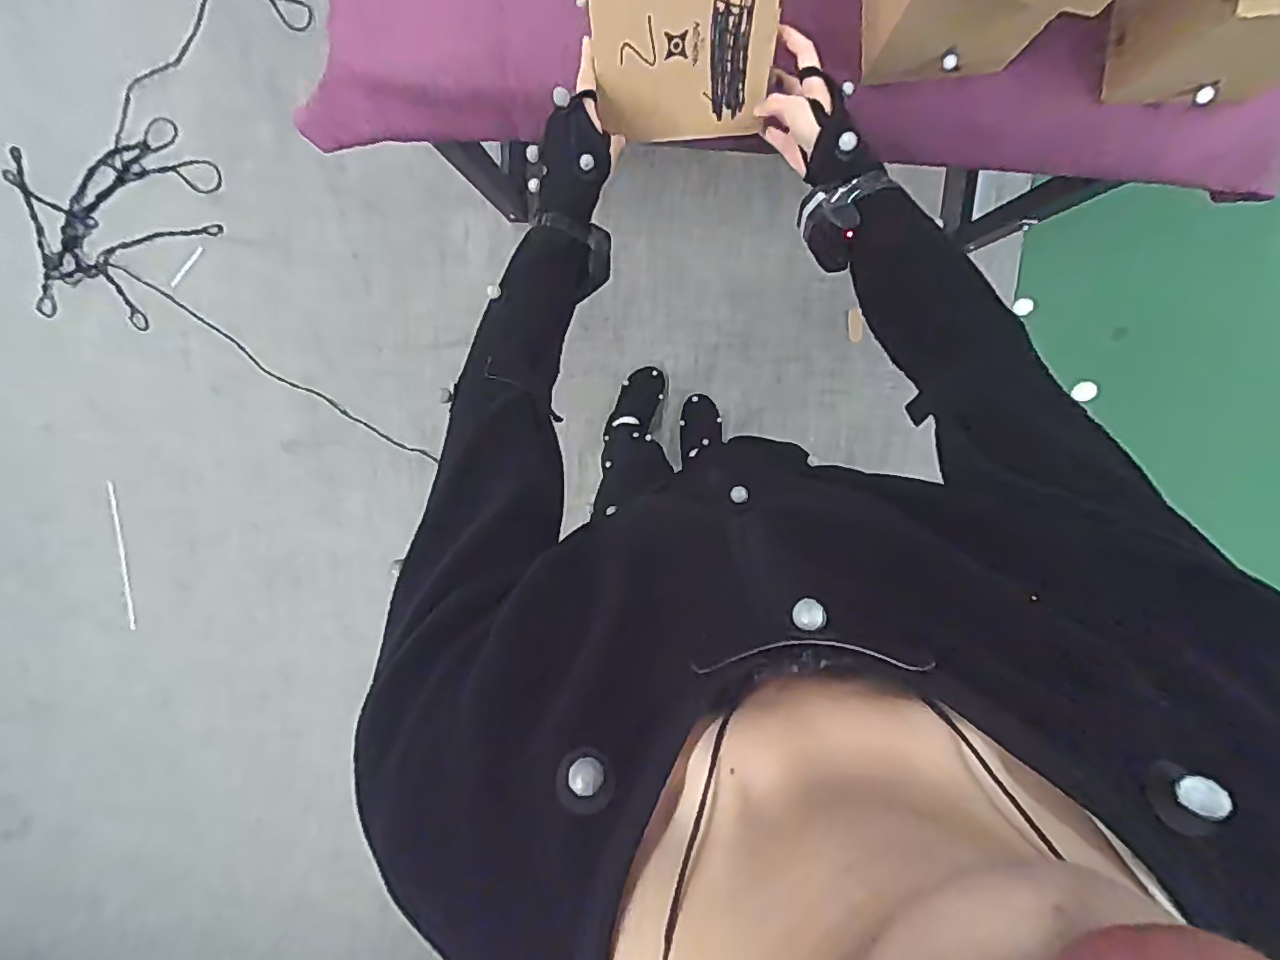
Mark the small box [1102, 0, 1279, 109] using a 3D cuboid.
[{"bbox_3d":[0.642,-0.514,0.559,0.179,0.176,0.168,1,99,4],"label":"small box"}]
